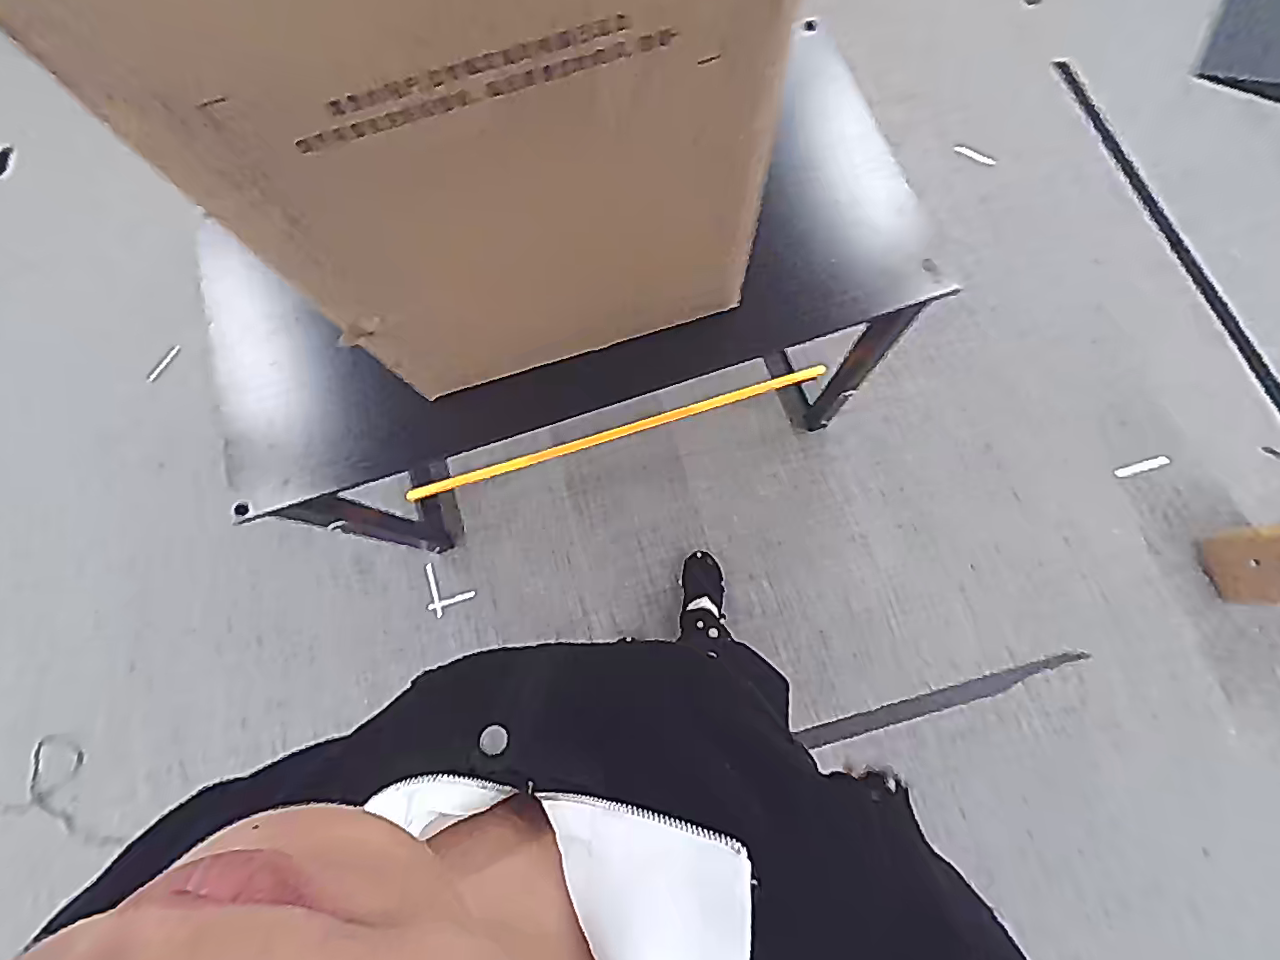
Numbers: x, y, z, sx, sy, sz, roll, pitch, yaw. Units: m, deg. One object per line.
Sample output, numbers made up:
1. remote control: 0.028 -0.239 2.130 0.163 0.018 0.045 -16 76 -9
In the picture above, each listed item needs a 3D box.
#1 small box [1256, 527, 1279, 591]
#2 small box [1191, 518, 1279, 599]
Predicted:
1. small box: 1.560 0.165 1.194 0.179 0.176 0.168 -14 77 0
2. small box: 1.562 0.196 1.356 0.168 0.176 0.179 -14 78 0
